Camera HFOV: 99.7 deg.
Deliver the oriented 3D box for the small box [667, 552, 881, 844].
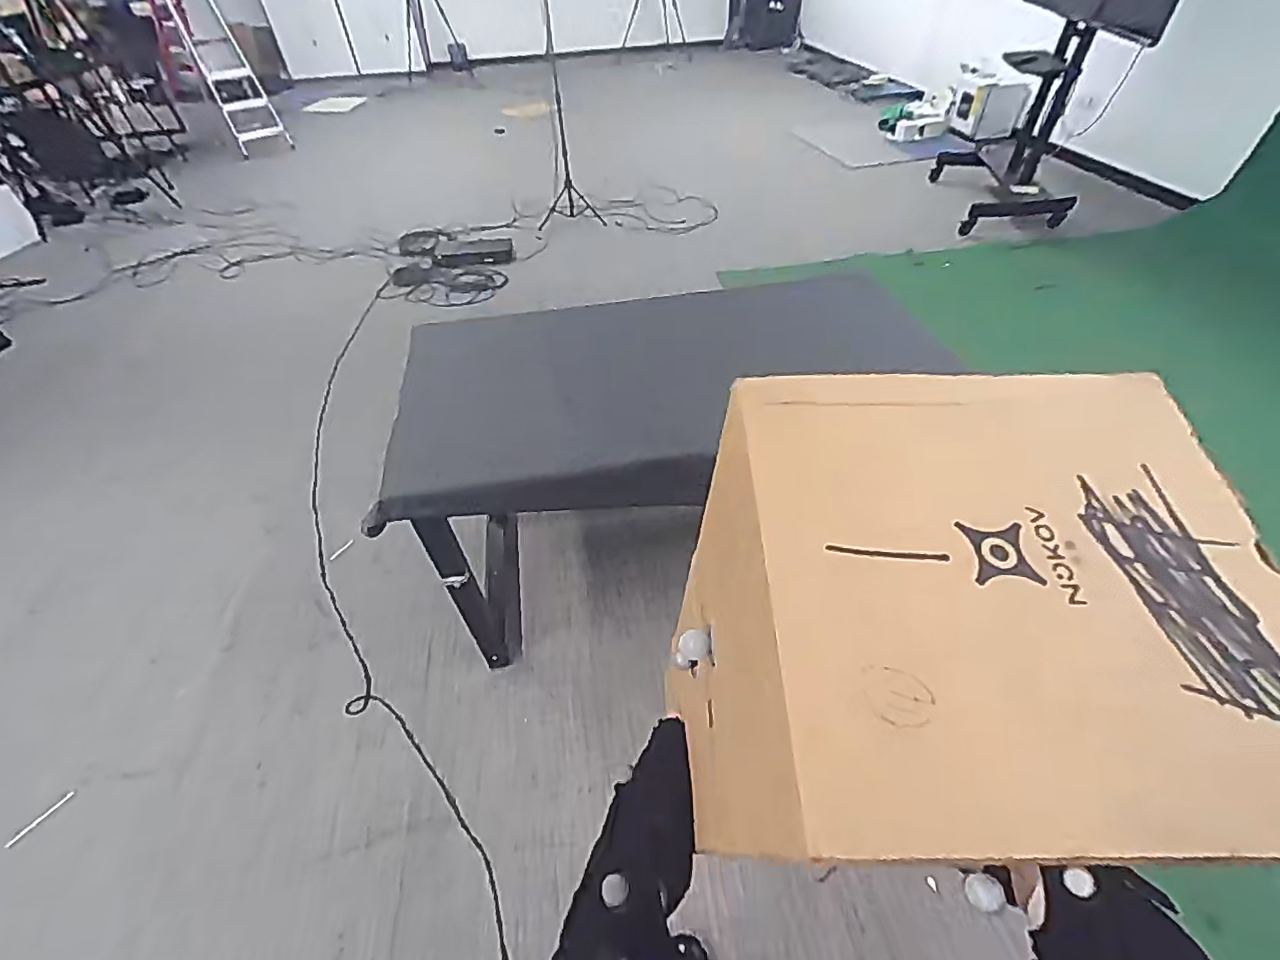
[{"bbox_3d":[0.117,0.158,0.391,0.179,0.176,0.168,-2,57,-2],"label":"small box"}]
